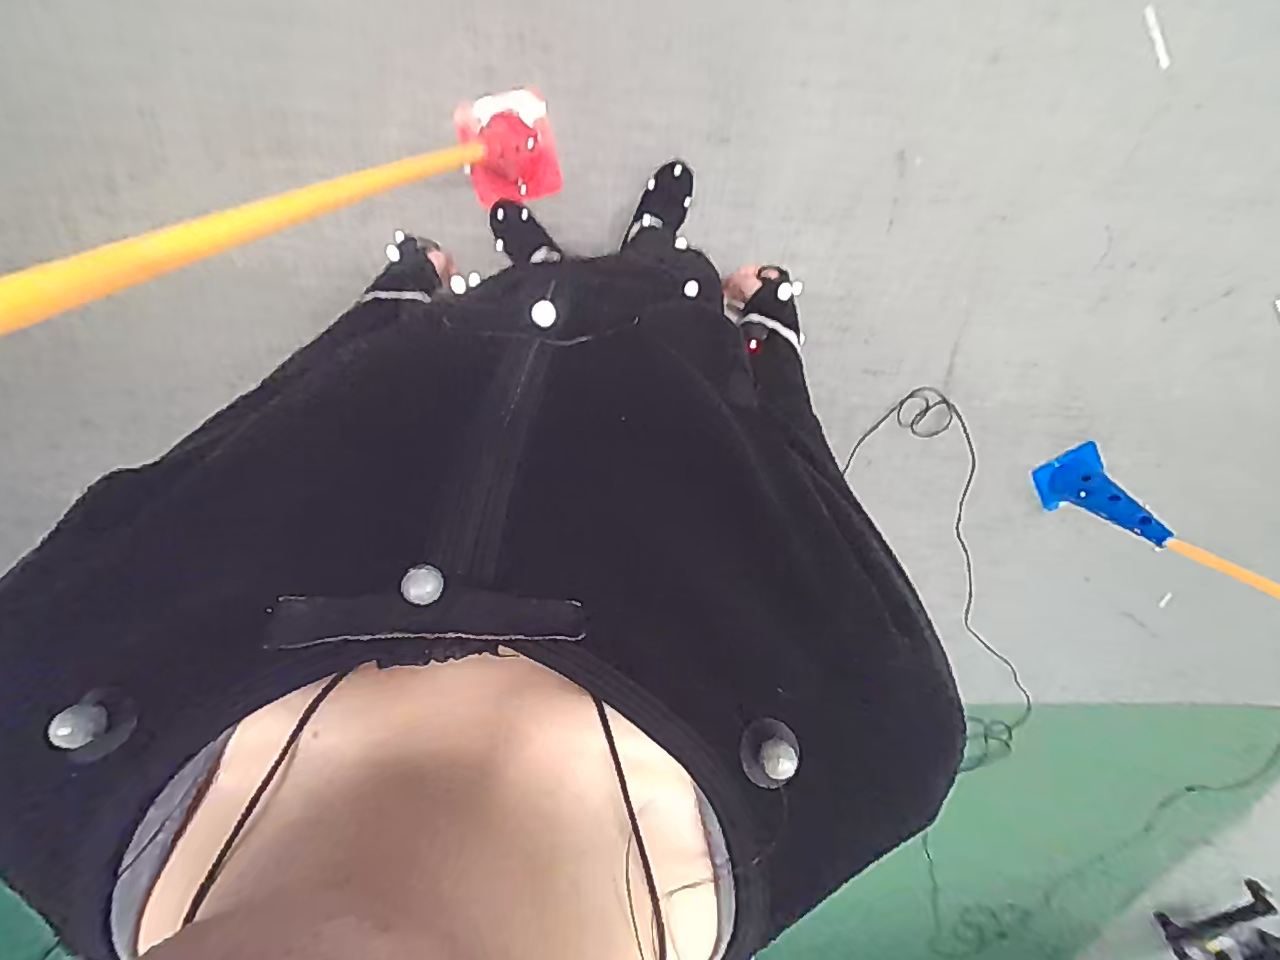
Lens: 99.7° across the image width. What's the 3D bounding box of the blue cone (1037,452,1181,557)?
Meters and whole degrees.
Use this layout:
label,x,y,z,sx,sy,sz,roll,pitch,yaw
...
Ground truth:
label,x,y,z,sx,sy,sz,roll,pitch,yaw
blue cone,1.383,0.093,1.574,0.193,0.380,0.192,-35,116,14
